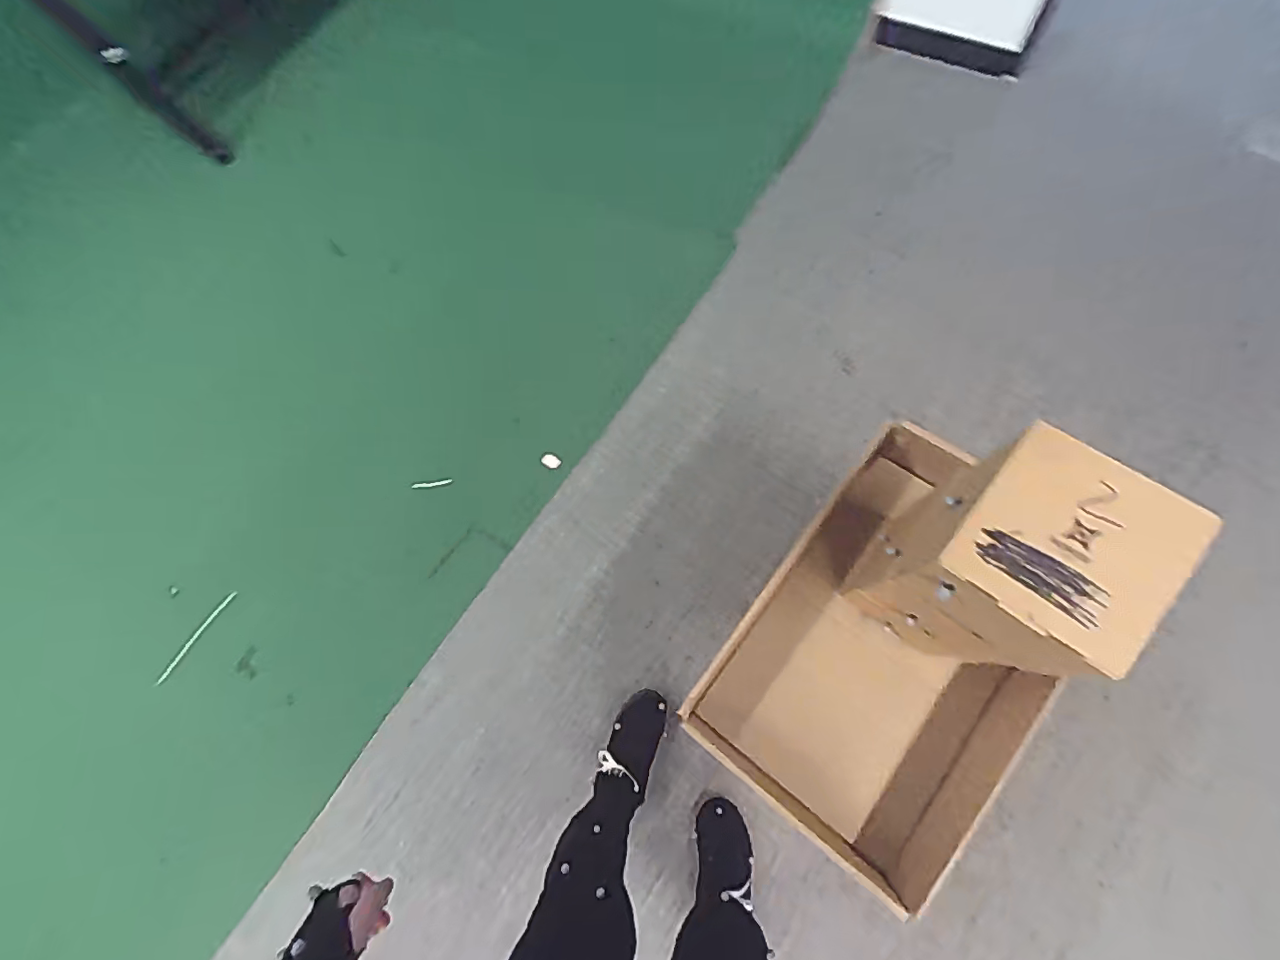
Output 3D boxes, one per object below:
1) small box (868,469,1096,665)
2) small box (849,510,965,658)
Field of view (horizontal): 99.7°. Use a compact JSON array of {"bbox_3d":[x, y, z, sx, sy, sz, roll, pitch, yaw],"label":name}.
[{"bbox_3d":[0.431,0.118,0.718,0.168,0.176,0.179,36,84,17],"label":"small box"},{"bbox_3d":[0.461,0.162,0.871,0.168,0.176,0.179,36,83,19],"label":"small box"}]
